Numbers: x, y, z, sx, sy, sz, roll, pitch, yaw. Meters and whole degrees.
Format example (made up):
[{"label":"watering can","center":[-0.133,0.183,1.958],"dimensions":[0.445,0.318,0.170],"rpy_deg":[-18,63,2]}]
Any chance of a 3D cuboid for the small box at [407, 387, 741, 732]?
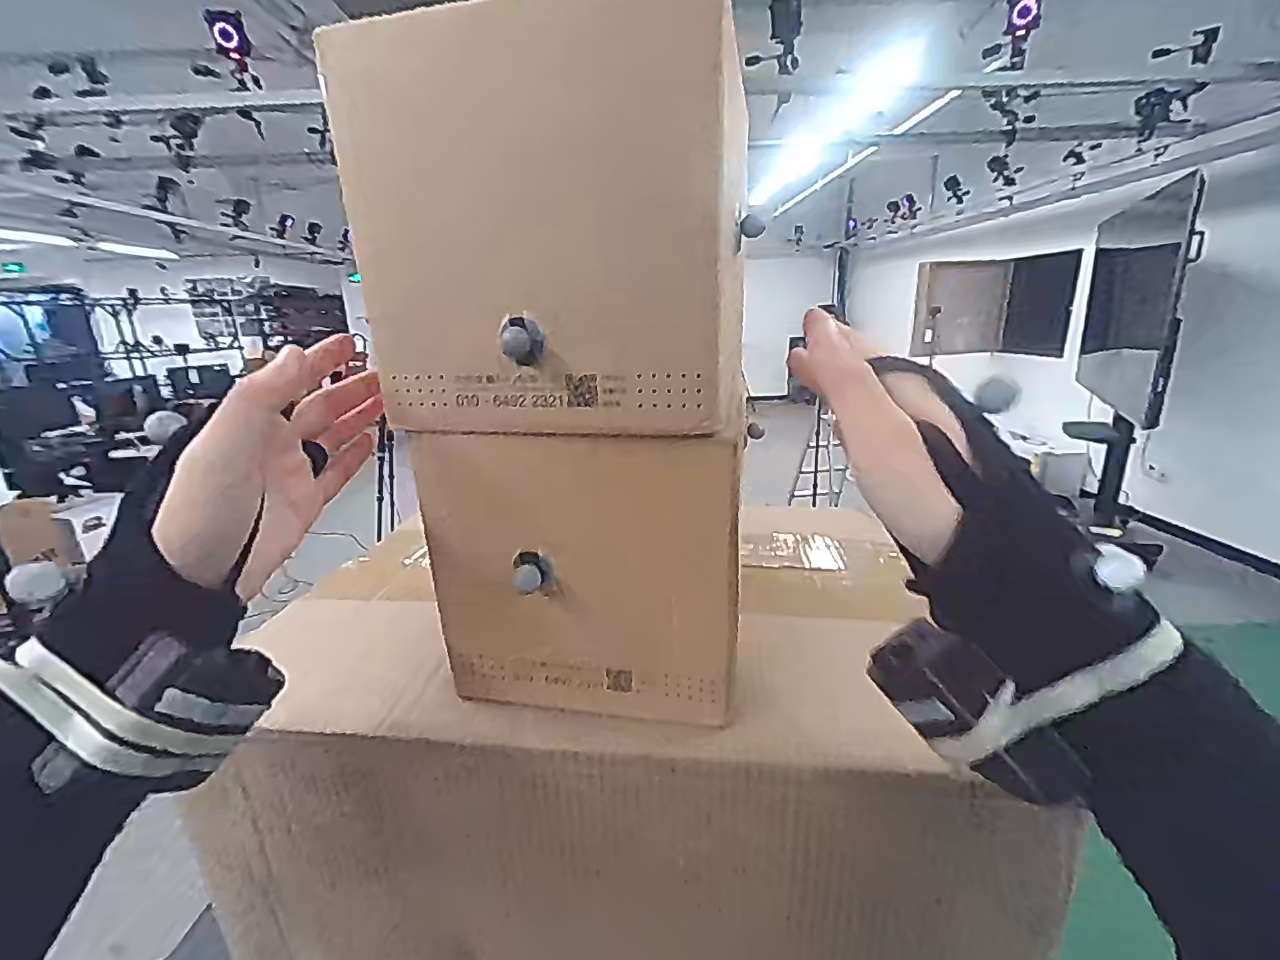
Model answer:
[{"label":"small box","center":[-0.019,0.037,0.361],"dimensions":[0.168,0.176,0.179],"rpy_deg":[2,19,12]}]
